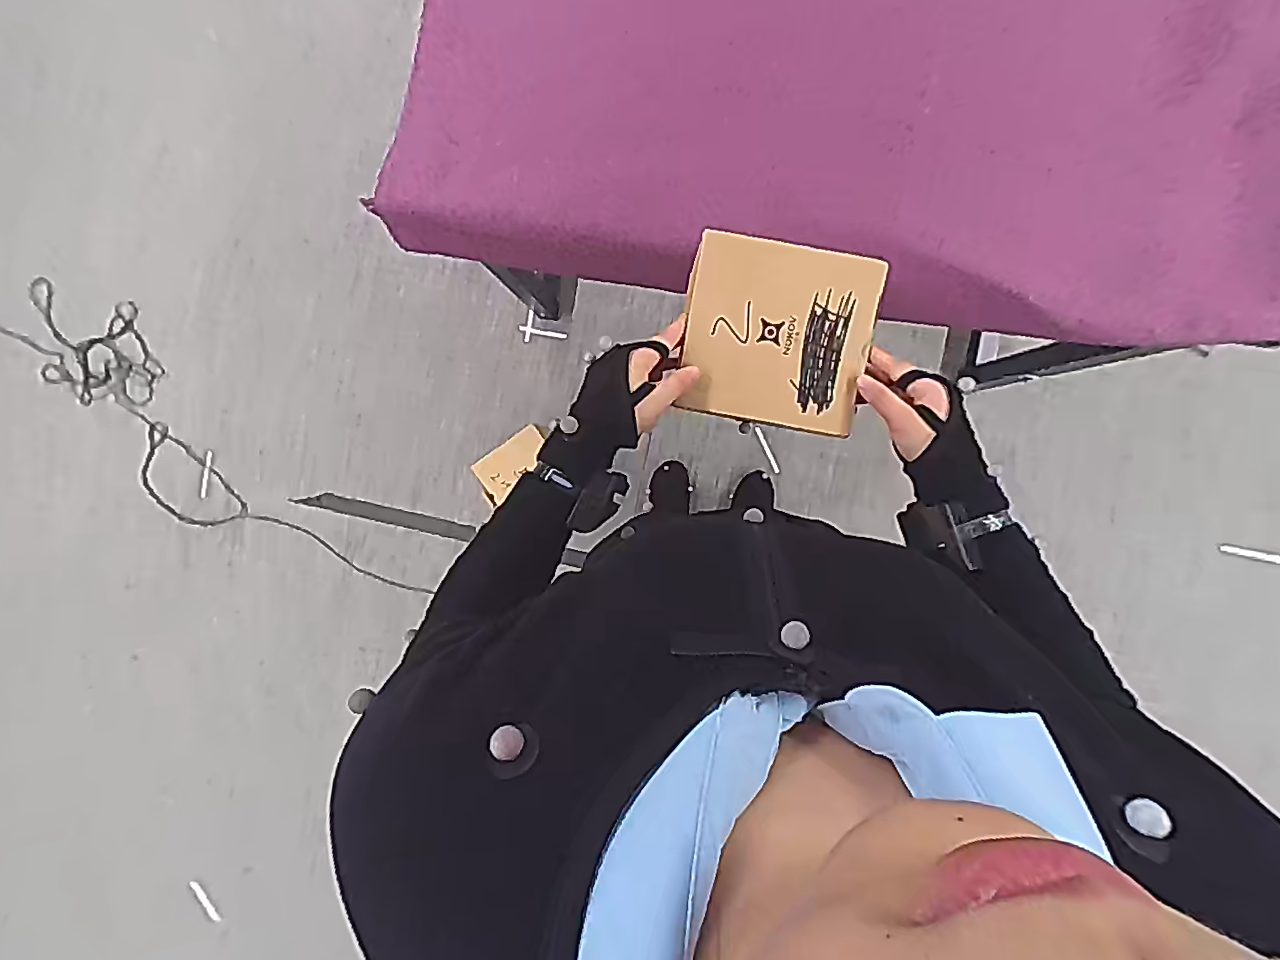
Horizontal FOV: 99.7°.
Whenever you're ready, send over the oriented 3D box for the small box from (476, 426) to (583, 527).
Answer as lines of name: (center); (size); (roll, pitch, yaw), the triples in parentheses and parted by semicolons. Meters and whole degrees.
small box: (-0.249, -0.011, 1.278); (0.179, 0.176, 0.168); (-35, 90, 4)
